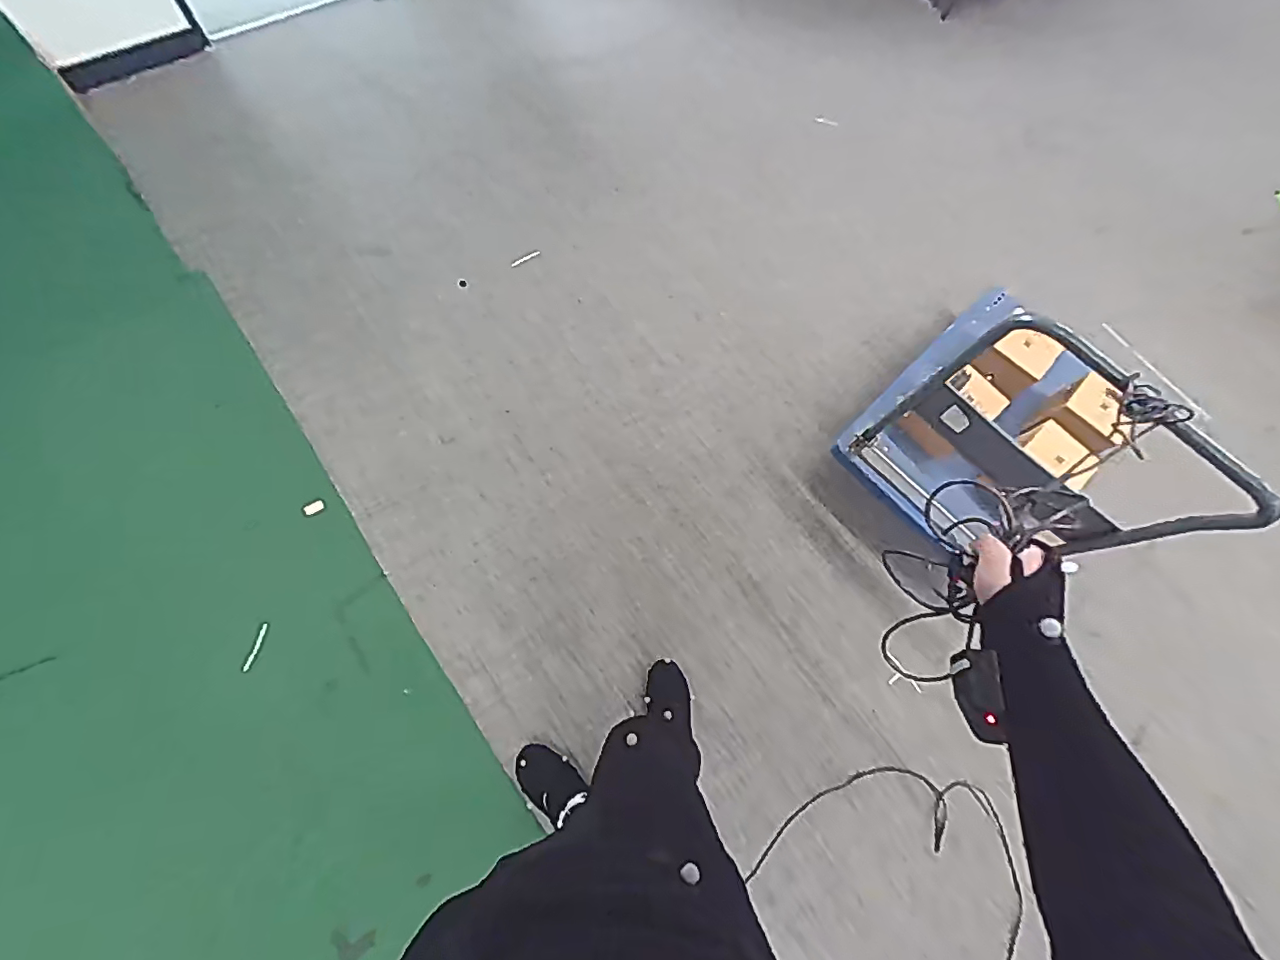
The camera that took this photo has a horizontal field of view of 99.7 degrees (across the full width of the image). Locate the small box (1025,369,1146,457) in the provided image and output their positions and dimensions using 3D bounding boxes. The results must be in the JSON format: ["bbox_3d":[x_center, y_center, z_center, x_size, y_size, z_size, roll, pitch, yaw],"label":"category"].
[{"bbox_3d":[1.239,-0.170,1.518,0.168,0.176,0.179,43,73,11],"label":"small box"}]

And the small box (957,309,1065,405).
[{"bbox_3d":[1.062,-0.348,1.566,0.168,0.176,0.179,42,72,9],"label":"small box"}]

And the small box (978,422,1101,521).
[{"bbox_3d":[1.059,-0.018,1.450,0.179,0.176,0.168,-40,78,-16],"label":"small box"}]
